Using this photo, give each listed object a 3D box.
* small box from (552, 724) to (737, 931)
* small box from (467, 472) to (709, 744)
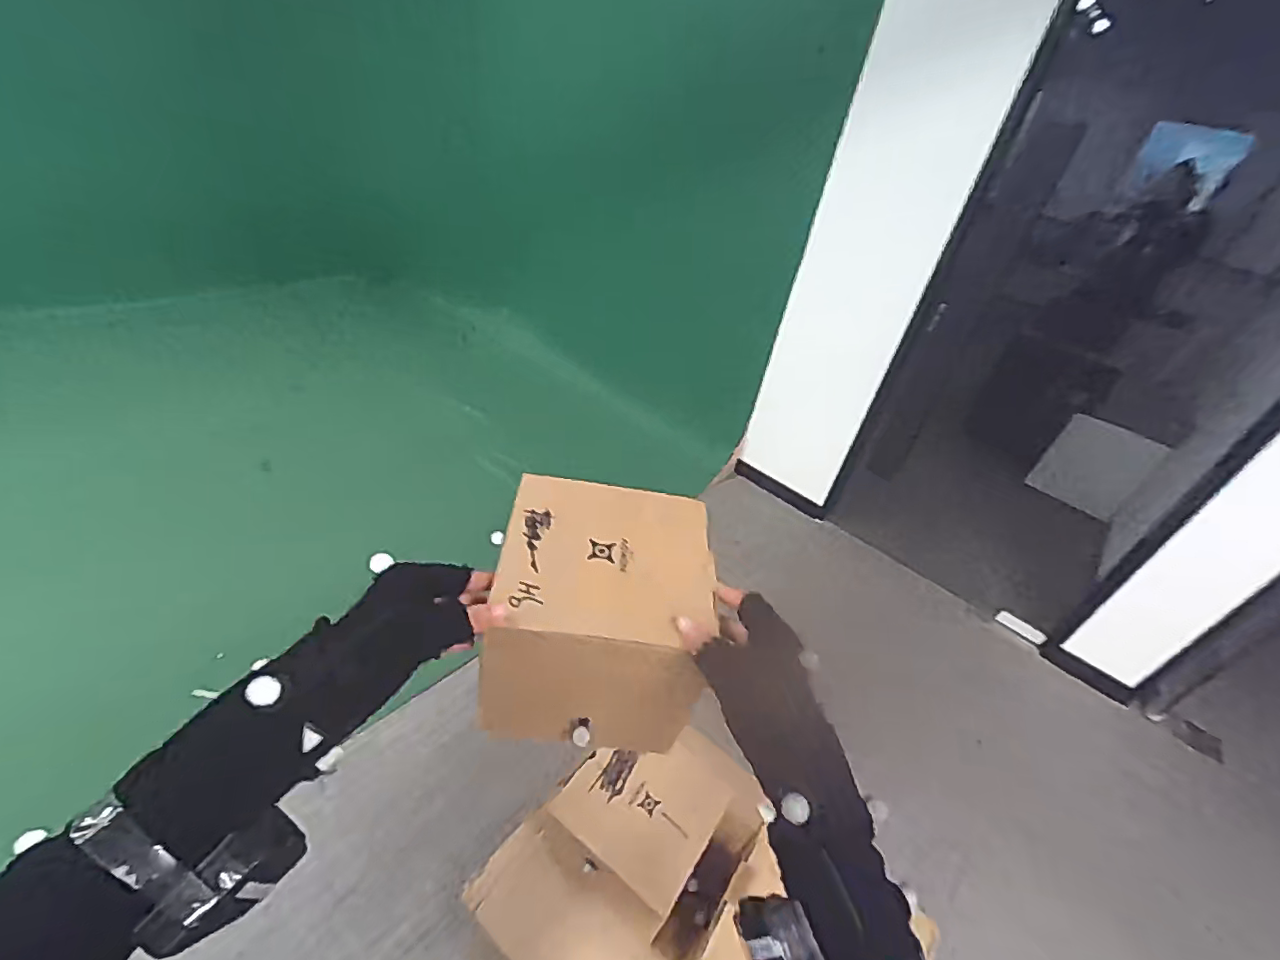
[{"bbox_3d":[0.000,0.449,0.718,0.179,0.176,0.168,30,47,23],"label":"small box"},{"bbox_3d":[-0.050,0.121,0.497,0.179,0.176,0.168,10,38,-8],"label":"small box"}]
